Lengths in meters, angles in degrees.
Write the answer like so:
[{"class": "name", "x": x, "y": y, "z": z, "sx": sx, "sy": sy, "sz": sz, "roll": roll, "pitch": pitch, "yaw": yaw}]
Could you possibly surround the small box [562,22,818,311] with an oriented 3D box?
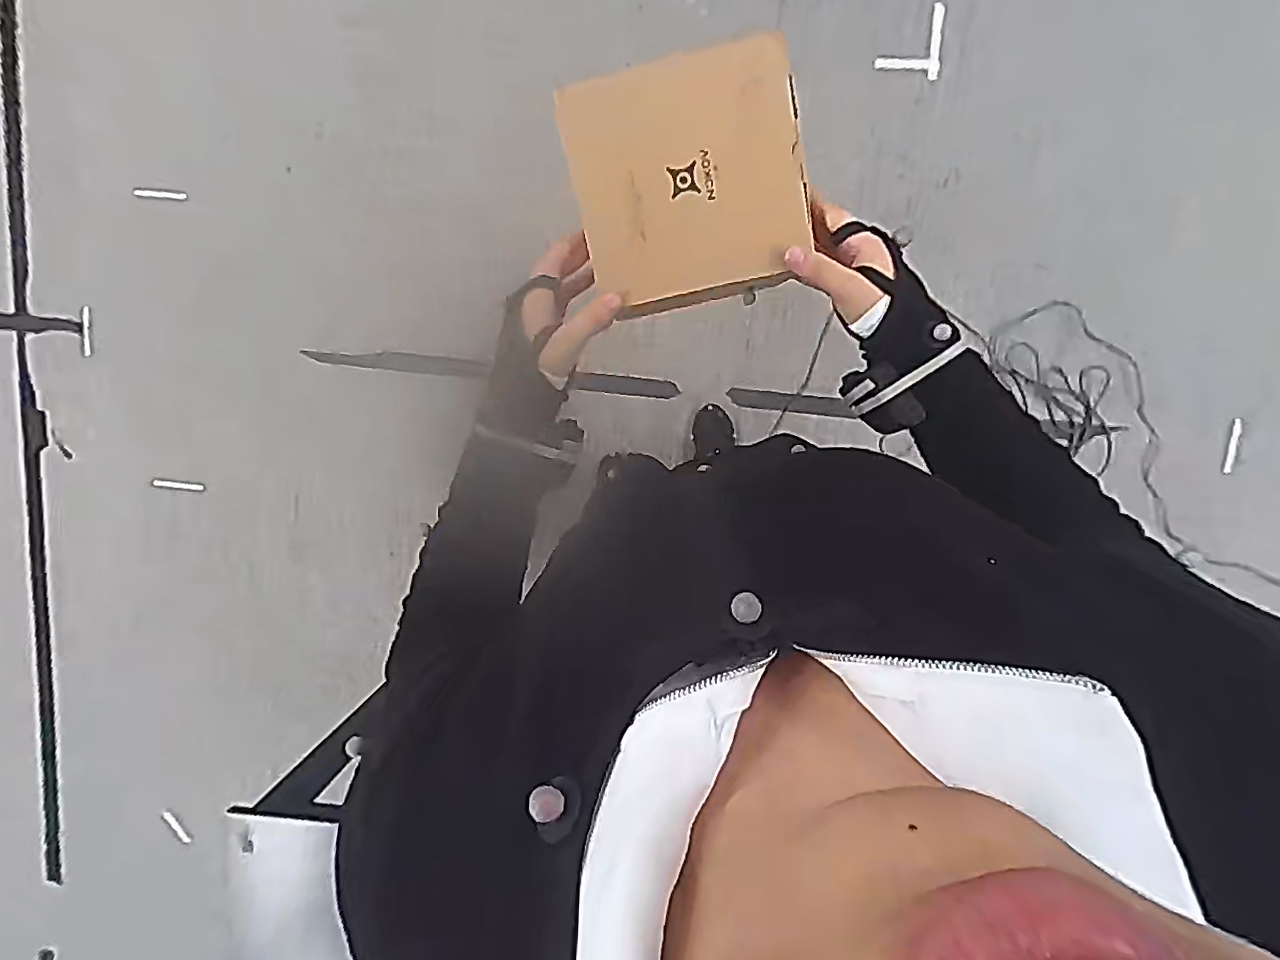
[{"class": "small box", "x": 0.044, "y": -0.257, "z": 0.492, "sx": 0.179, "sy": 0.176, "sz": 0.168, "roll": -11, "pitch": 102, "yaw": 5}]
